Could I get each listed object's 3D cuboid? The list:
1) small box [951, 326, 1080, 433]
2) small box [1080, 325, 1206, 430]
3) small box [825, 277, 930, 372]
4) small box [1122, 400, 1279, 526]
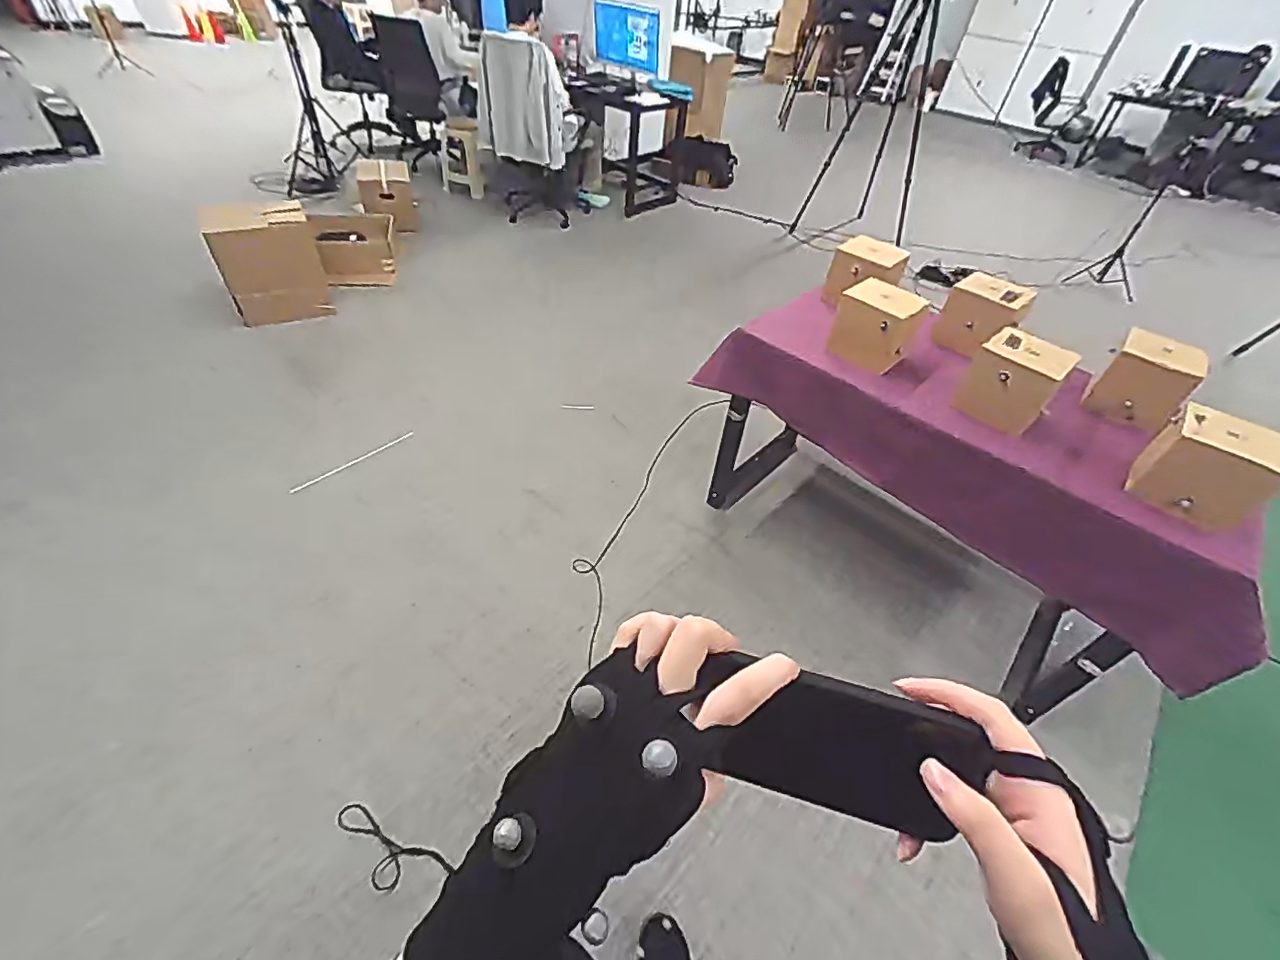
[{"bbox_3d":[0.897,-0.242,1.307,0.168,0.176,0.179,-32,56,-32],"label":"small box"},{"bbox_3d":[1.258,-0.258,1.361,0.168,0.176,0.179,33,51,25],"label":"small box"},{"bbox_3d":[0.631,-0.418,1.458,0.179,0.176,0.168,38,52,27],"label":"small box"},{"bbox_3d":[1.165,-0.029,1.119,0.179,0.176,0.168,35,51,26],"label":"small box"}]
